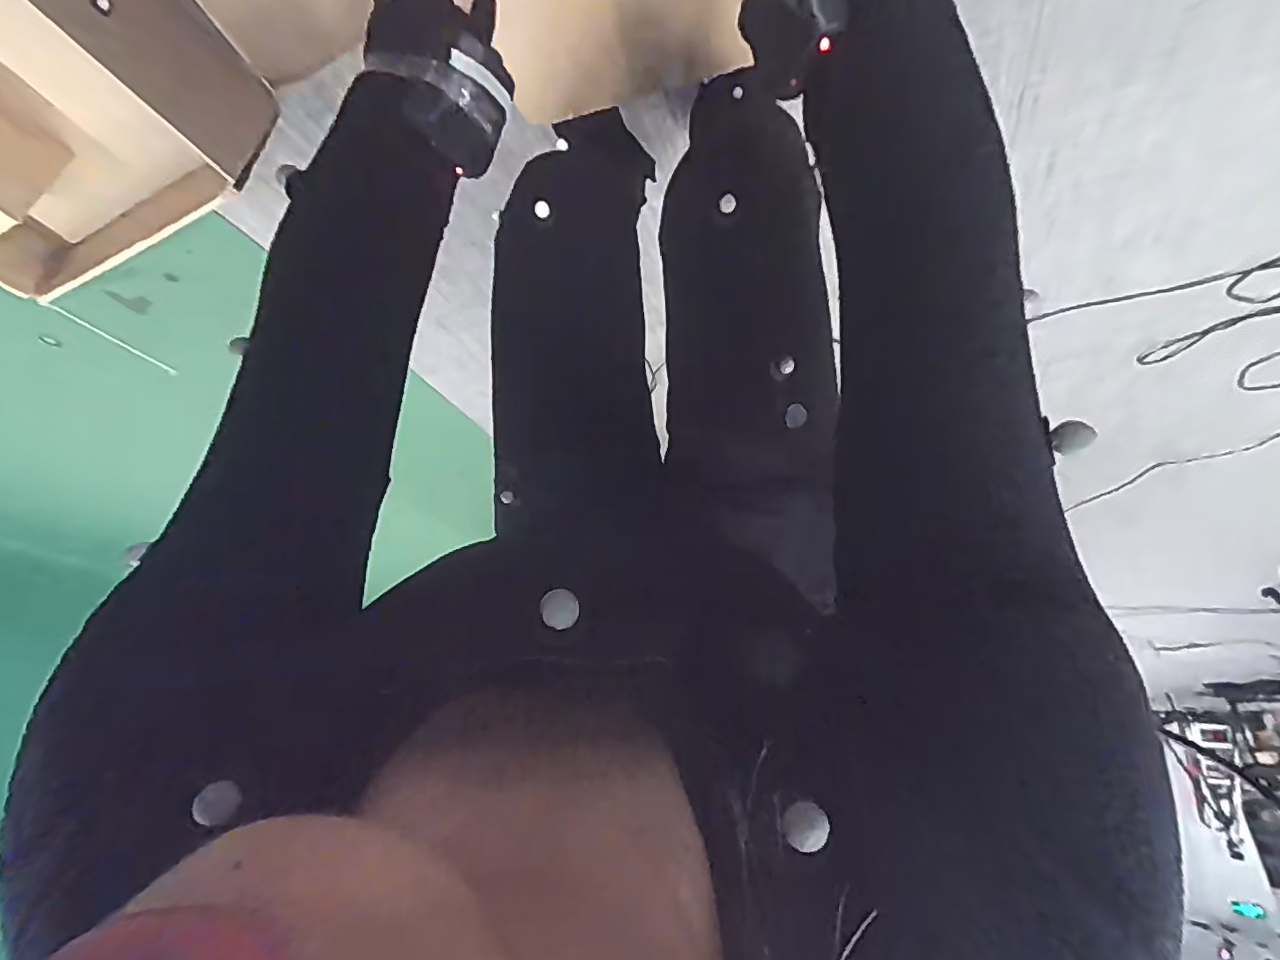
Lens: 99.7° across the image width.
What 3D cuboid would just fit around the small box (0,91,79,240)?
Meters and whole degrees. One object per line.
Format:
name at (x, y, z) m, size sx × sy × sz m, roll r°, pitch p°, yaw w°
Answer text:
small box at (-1.016, -0.479, 0.811) m, size 0.179 × 0.176 × 0.168 m, roll -9°, pitch 149°, yaw 22°
